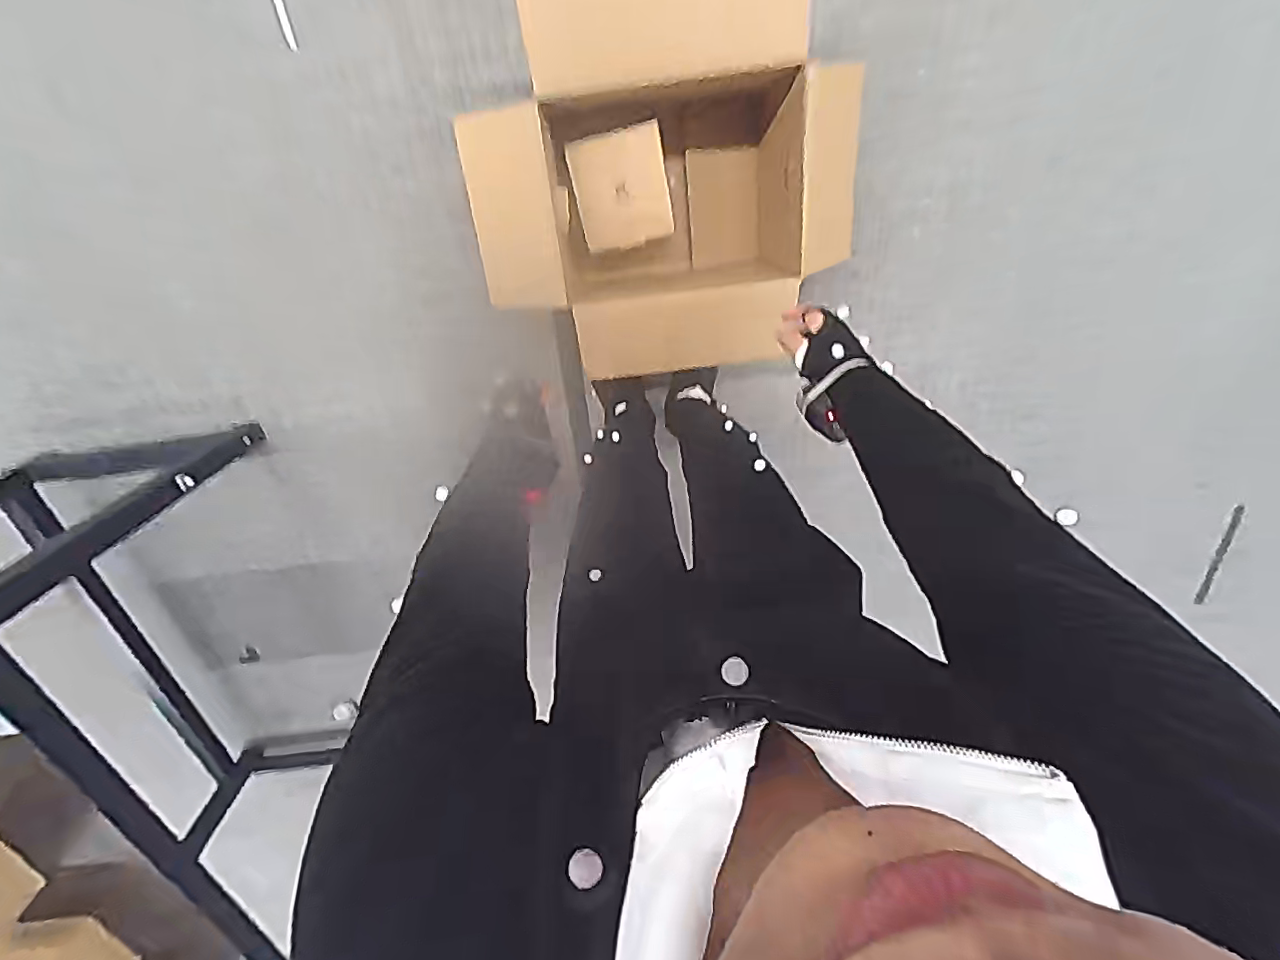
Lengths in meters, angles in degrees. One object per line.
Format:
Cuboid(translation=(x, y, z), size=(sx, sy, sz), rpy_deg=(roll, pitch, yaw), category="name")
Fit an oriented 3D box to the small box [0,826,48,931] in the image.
Cuboid(translation=(-1.107, 0.657, 0.836), size=(0.168, 0.176, 0.179), rpy_deg=(-6, 119, 1), category="small box")
